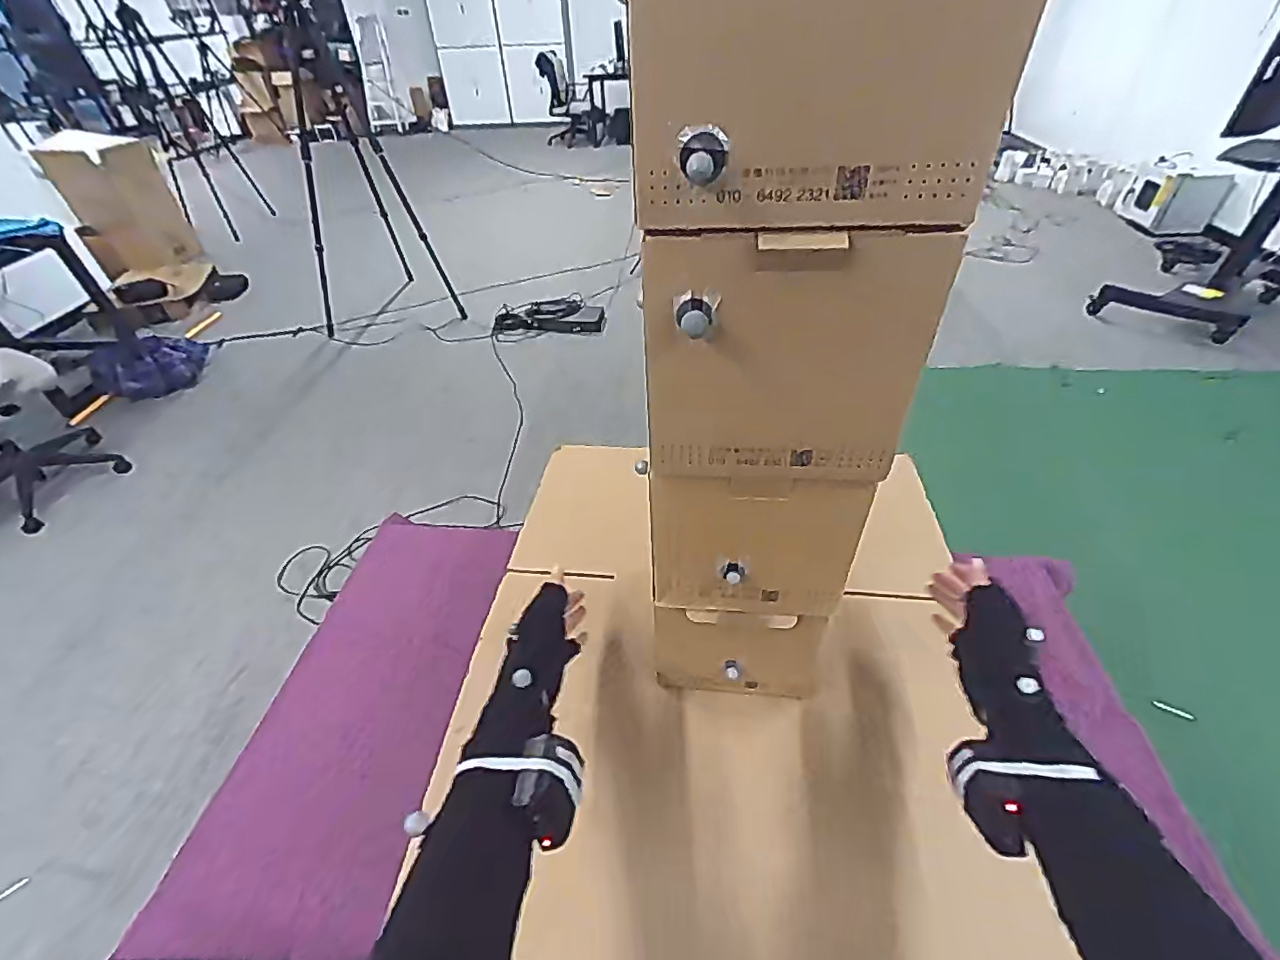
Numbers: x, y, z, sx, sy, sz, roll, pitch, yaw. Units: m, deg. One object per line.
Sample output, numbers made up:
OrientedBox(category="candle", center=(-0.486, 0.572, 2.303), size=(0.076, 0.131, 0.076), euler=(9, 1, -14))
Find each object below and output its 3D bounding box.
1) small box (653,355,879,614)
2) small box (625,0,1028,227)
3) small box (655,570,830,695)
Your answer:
OrientedBox(category="small box", center=(0.100, 0.000, 0.505), size=(0.168, 0.176, 0.179), euler=(1, 42, 6))
OrientedBox(category="small box", center=(0.083, -0.241, 0.280), size=(0.168, 0.176, 0.179), euler=(2, 41, 6))
OrientedBox(category="small box", center=(0.109, 0.117, 0.618), size=(0.168, 0.176, 0.179), euler=(2, 42, 8))
